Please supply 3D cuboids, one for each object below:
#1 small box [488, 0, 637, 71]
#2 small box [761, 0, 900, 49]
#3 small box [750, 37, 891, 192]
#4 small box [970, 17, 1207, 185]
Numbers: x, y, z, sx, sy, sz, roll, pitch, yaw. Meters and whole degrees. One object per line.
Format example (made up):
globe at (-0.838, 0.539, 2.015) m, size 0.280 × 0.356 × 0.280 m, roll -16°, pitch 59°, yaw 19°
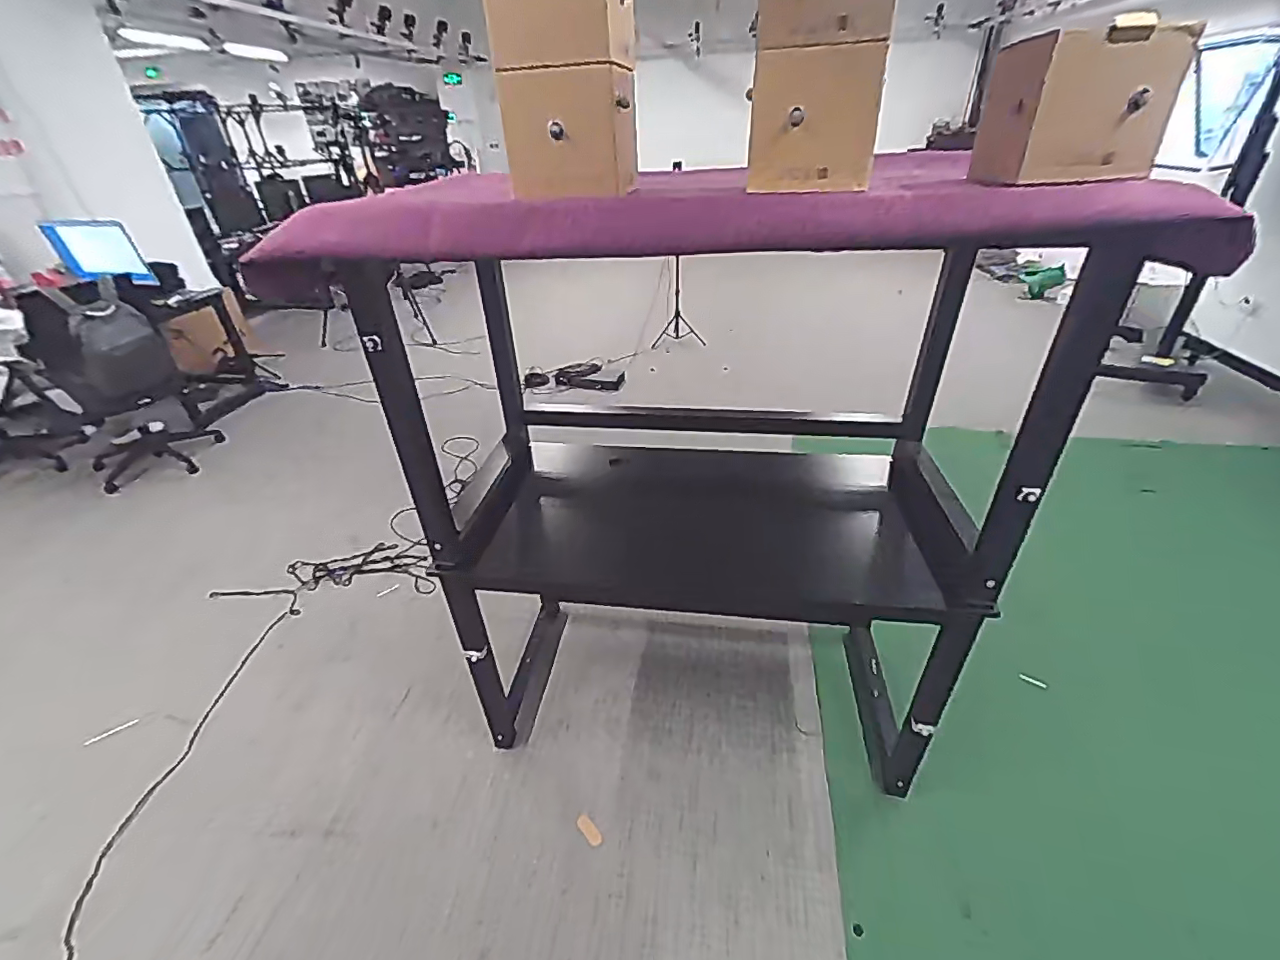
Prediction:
small box at (-0.104, -0.689, 0.764) m, size 0.179 × 0.176 × 0.168 m, roll 4°, pitch 33°, yaw 11°
small box at (0.251, -0.661, 0.705) m, size 0.168 × 0.176 × 0.179 m, roll 7°, pitch 33°, yaw 13°
small box at (0.254, -0.520, 0.789) m, size 0.168 × 0.176 × 0.179 m, roll 6°, pitch 32°, yaw 13°
small box at (0.593, -0.508, 0.747) m, size 0.168 × 0.176 × 0.179 m, roll 2°, pitch 31°, yaw 7°
